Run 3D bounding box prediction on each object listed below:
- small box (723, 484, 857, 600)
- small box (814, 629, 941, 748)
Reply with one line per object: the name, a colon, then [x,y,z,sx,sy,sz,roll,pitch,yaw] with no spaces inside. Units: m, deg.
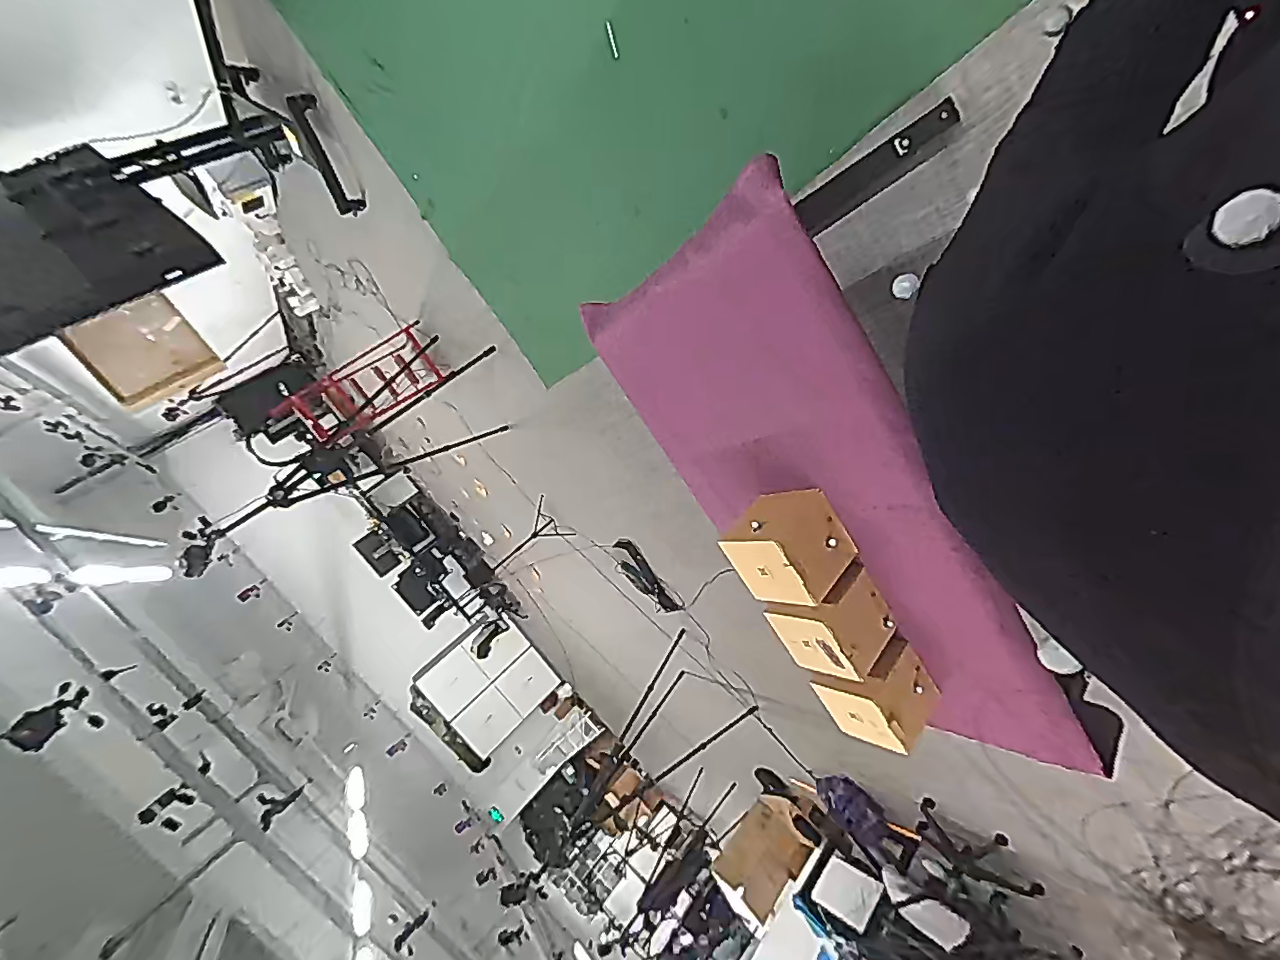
small box: [0.315,0.126,1.133,0.168,0.176,0.179,55,152,-13]
small box: [0.540,0.461,1.229,0.168,0.176,0.179,55,152,-13]
